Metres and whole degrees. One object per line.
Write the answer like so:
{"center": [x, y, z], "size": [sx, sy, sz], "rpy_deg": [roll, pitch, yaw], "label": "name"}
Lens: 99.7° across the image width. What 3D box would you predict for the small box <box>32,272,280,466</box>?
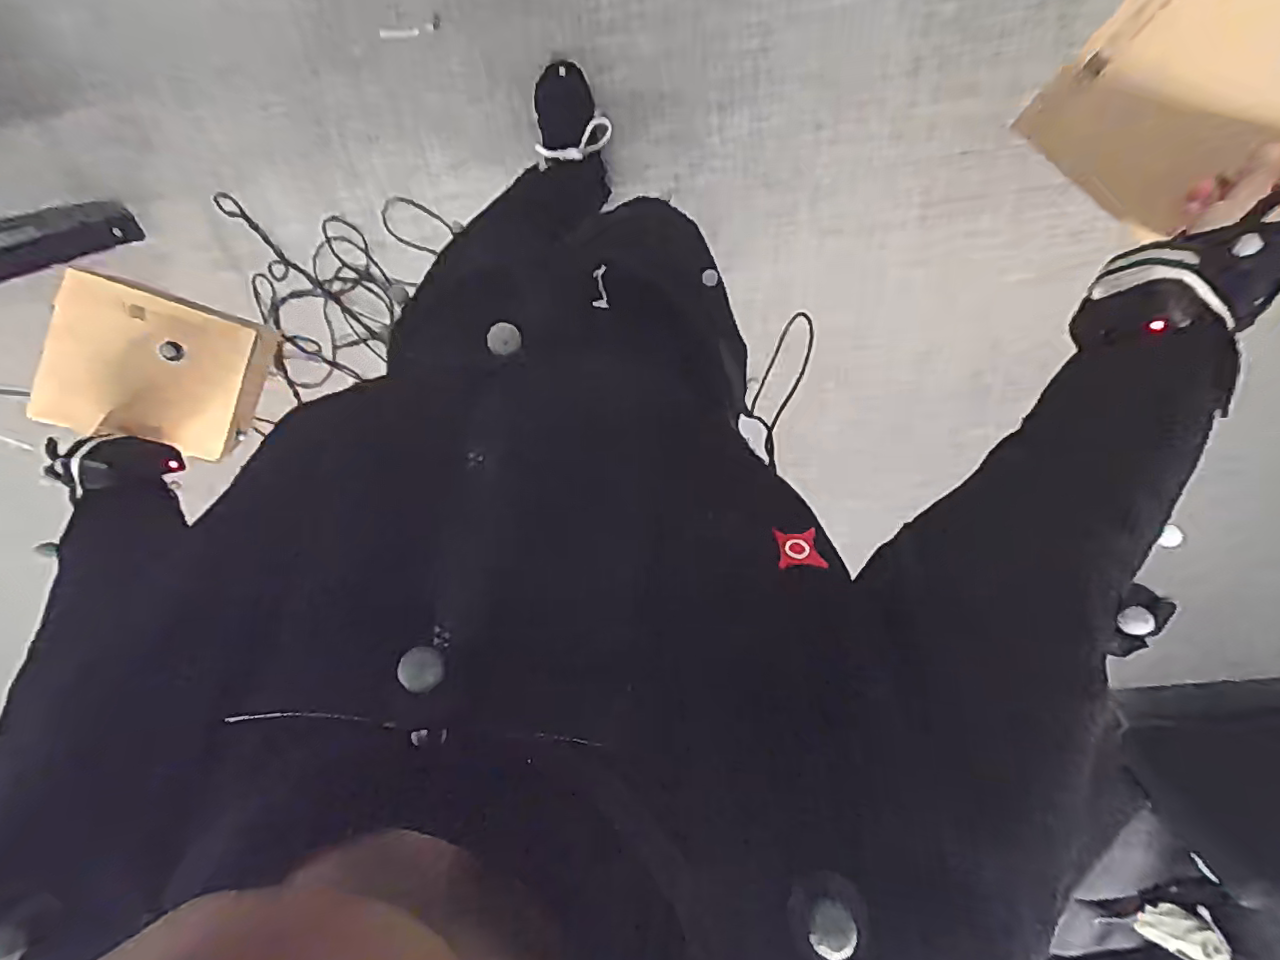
{"center": [-0.568, -0.135, 0.663], "size": [0.168, 0.179, 0.176], "rpy_deg": [18, 94, -29], "label": "small box"}
